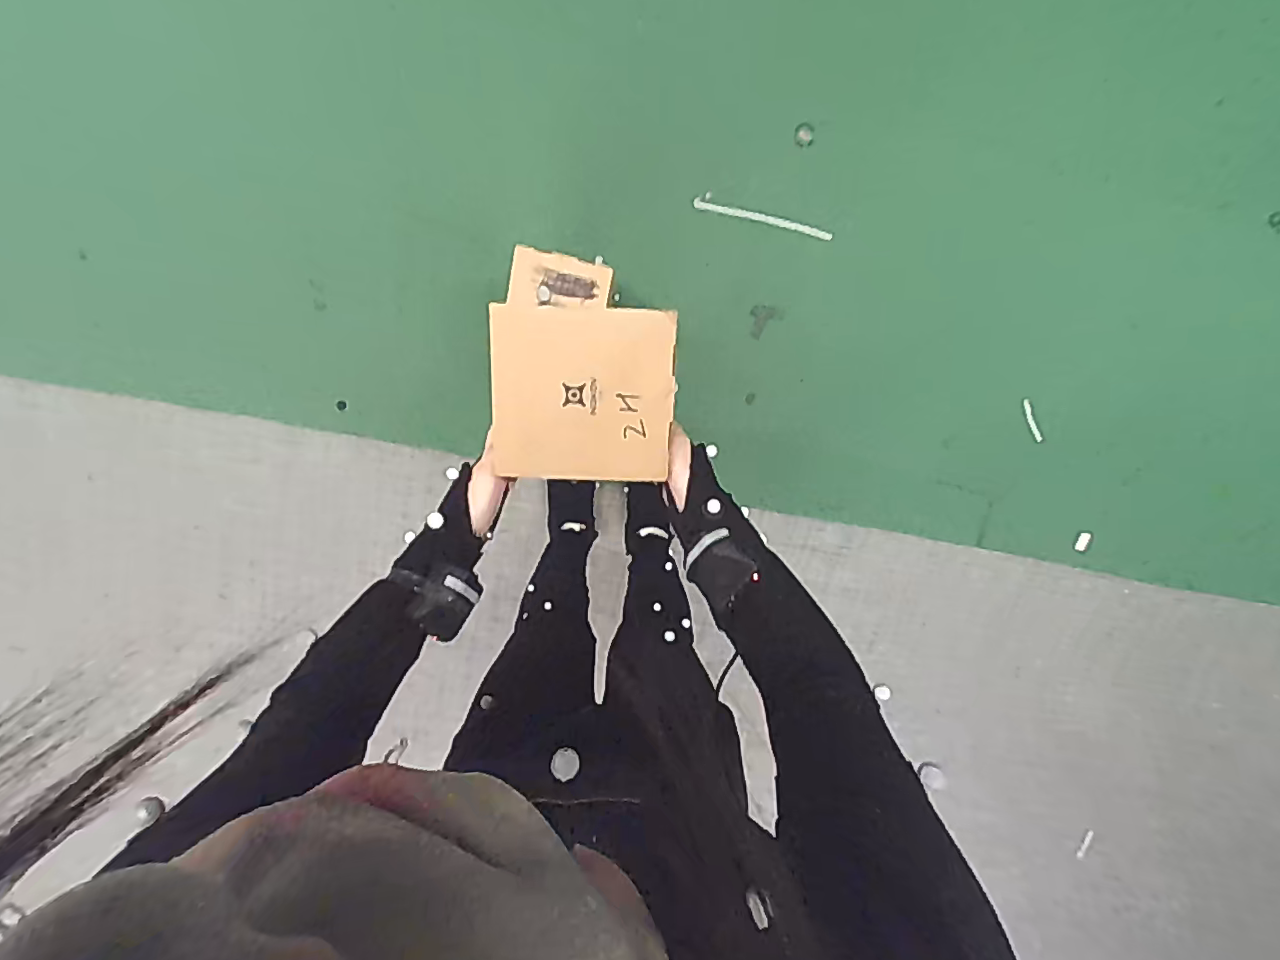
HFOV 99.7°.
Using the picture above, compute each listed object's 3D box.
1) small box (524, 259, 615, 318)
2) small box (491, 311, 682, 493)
[{"bbox_3d":[-0.147,-0.347,1.142,0.168,0.176,0.179,12,104,-5],"label":"small box"},{"bbox_3d":[-0.056,-0.091,0.589,0.179,0.176,0.168,2,107,-4],"label":"small box"}]
